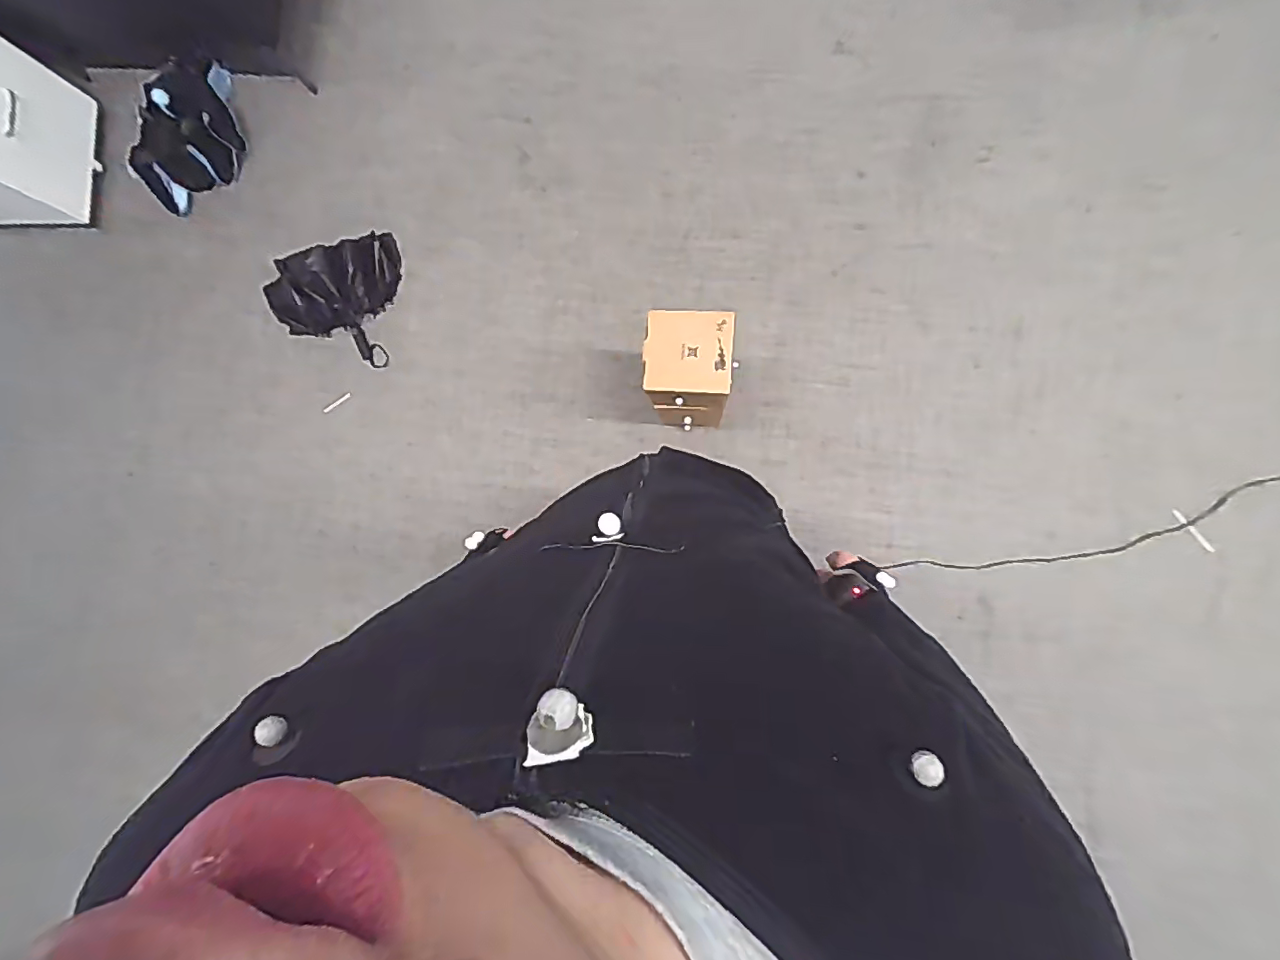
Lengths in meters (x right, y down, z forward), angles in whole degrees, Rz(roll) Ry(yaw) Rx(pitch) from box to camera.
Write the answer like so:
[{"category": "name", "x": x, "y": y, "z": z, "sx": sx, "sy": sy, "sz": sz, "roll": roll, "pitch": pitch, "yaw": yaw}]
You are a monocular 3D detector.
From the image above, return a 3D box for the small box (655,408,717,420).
[{"category": "small box", "x": 0.130, "y": -0.264, "z": 1.489, "sx": 0.168, "sy": 0.176, "sz": 0.179, "roll": 2, "pitch": 90, "yaw": 6}]

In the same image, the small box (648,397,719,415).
[{"category": "small box", "x": 0.111, "y": -0.261, "z": 1.325, "sx": 0.168, "sy": 0.176, "sz": 0.179, "roll": 2, "pitch": 89, "yaw": 6}]

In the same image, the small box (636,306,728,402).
[{"category": "small box", "x": 0.095, "y": -0.264, "z": 1.163, "sx": 0.179, "sy": 0.176, "sz": 0.168, "roll": 4, "pitch": 89, "yaw": 7}]
